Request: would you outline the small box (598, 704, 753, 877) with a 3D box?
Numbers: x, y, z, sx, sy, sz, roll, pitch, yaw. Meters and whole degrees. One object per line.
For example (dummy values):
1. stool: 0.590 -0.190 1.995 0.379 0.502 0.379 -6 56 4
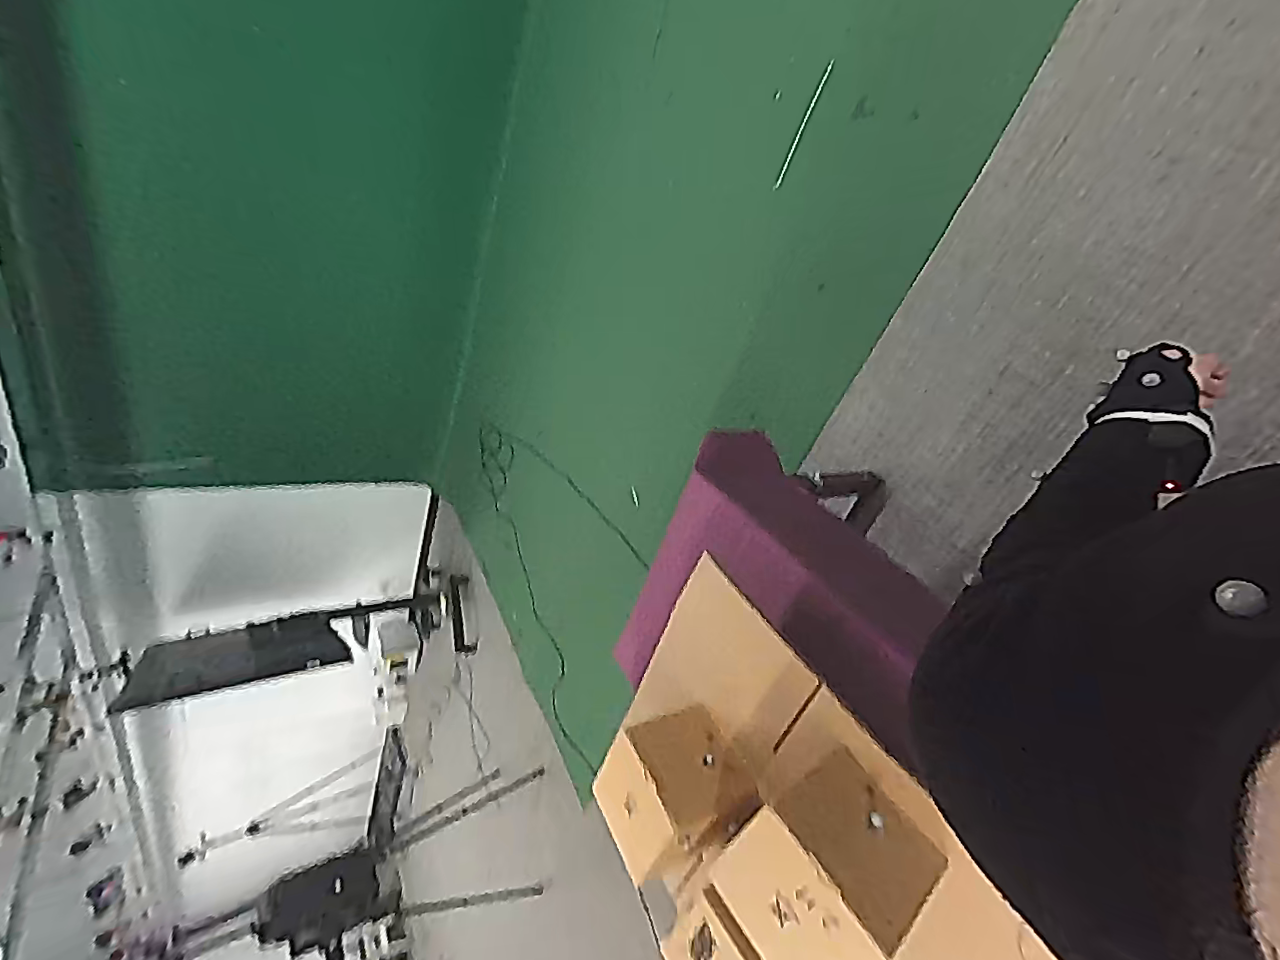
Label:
1. small box: 0.058 0.507 0.902 0.168 0.176 0.179 51 128 42
